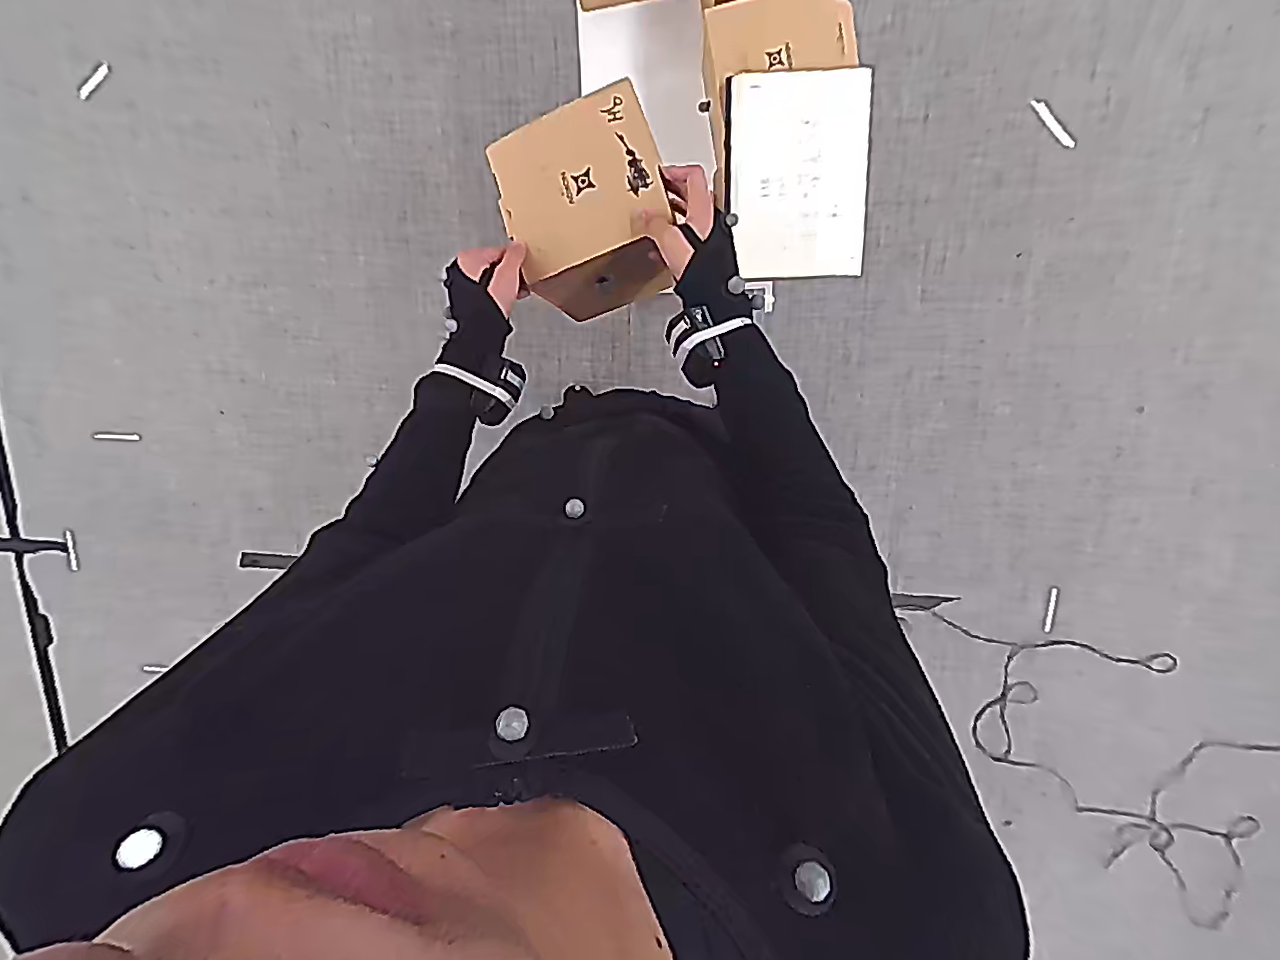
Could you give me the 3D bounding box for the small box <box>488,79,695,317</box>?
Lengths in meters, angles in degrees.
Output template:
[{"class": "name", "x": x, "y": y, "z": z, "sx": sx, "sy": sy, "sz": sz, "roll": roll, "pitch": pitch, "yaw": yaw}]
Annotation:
[{"class": "small box", "x": -0.048, "y": -0.317, "z": 0.653, "sx": 0.179, "sy": 0.176, "sz": 0.168, "roll": -17, "pitch": 89, "yaw": 15}]
